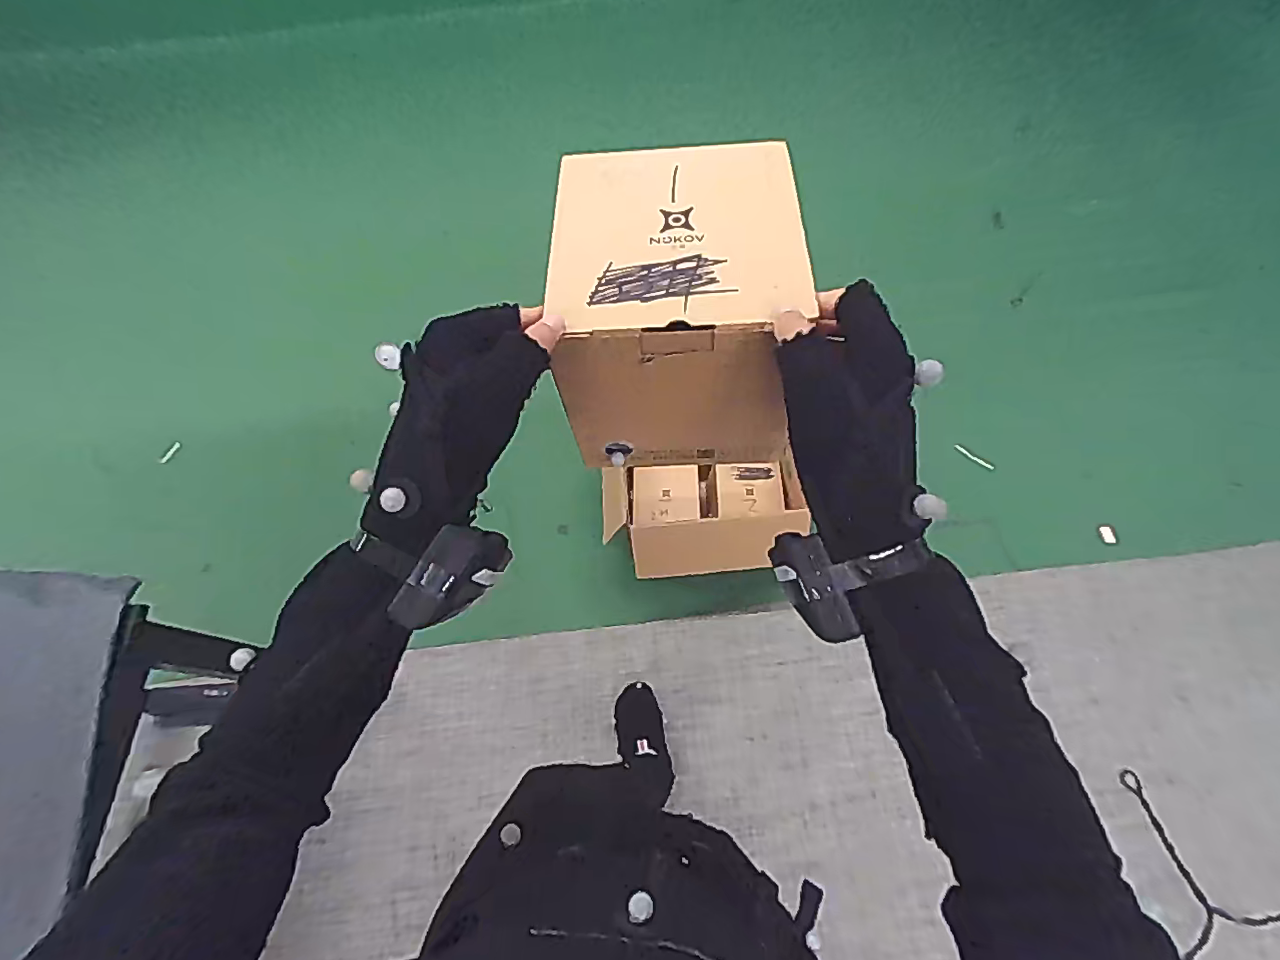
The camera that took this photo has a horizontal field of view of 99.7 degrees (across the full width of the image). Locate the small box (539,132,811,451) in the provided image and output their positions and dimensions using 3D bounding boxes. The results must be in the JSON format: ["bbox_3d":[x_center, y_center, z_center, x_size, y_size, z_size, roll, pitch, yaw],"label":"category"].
[{"bbox_3d":[0.028,-0.132,0.426,0.168,0.176,0.179,-2,63,4],"label":"small box"}]
